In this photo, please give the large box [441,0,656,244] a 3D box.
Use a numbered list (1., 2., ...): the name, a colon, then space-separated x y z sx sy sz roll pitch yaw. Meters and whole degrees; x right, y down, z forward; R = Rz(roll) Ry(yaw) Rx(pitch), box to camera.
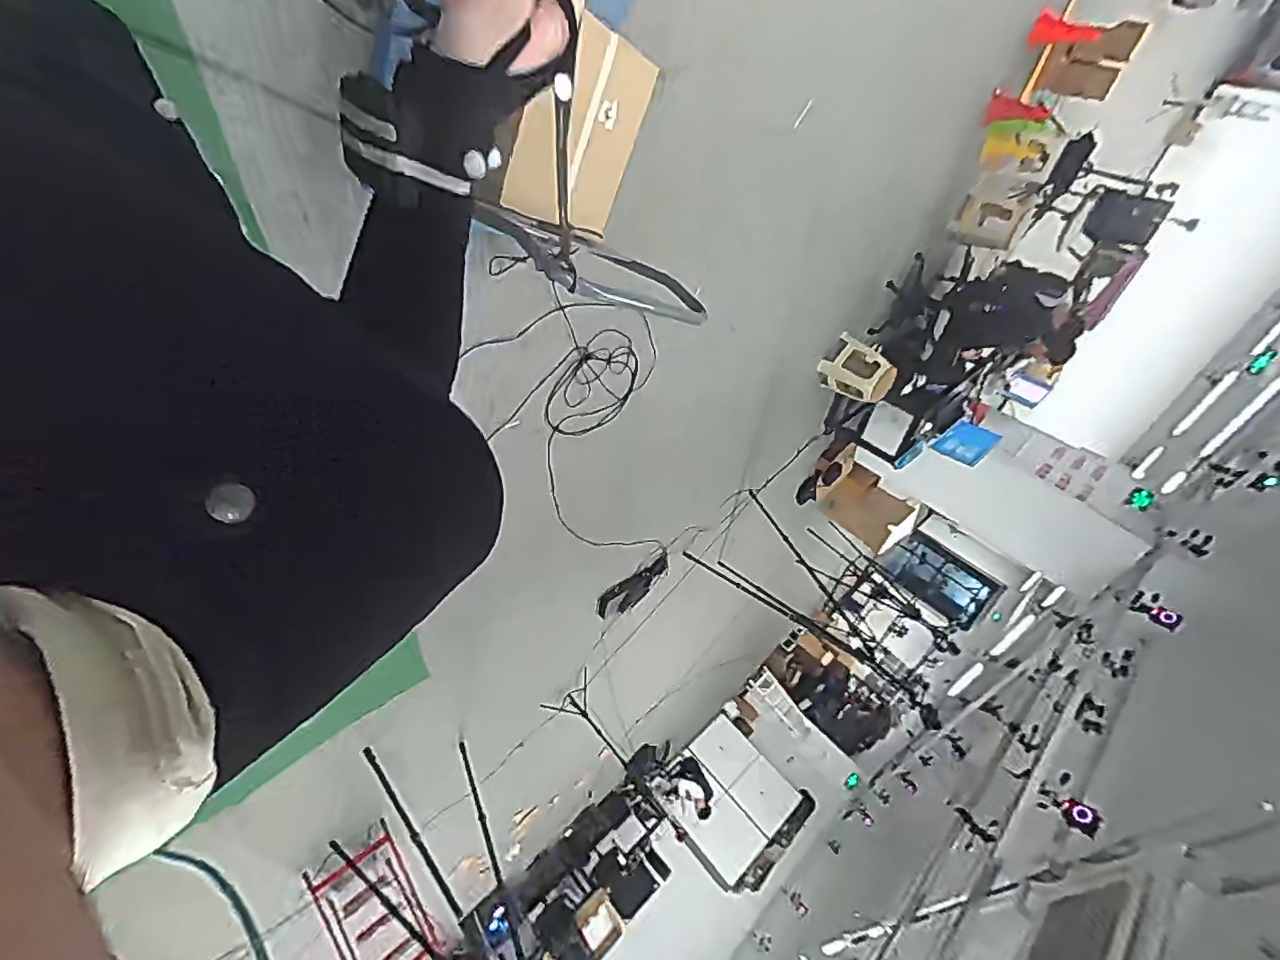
1. large box: -0.231 -0.846 1.292 0.320 0.320 0.408 -6 128 -50
